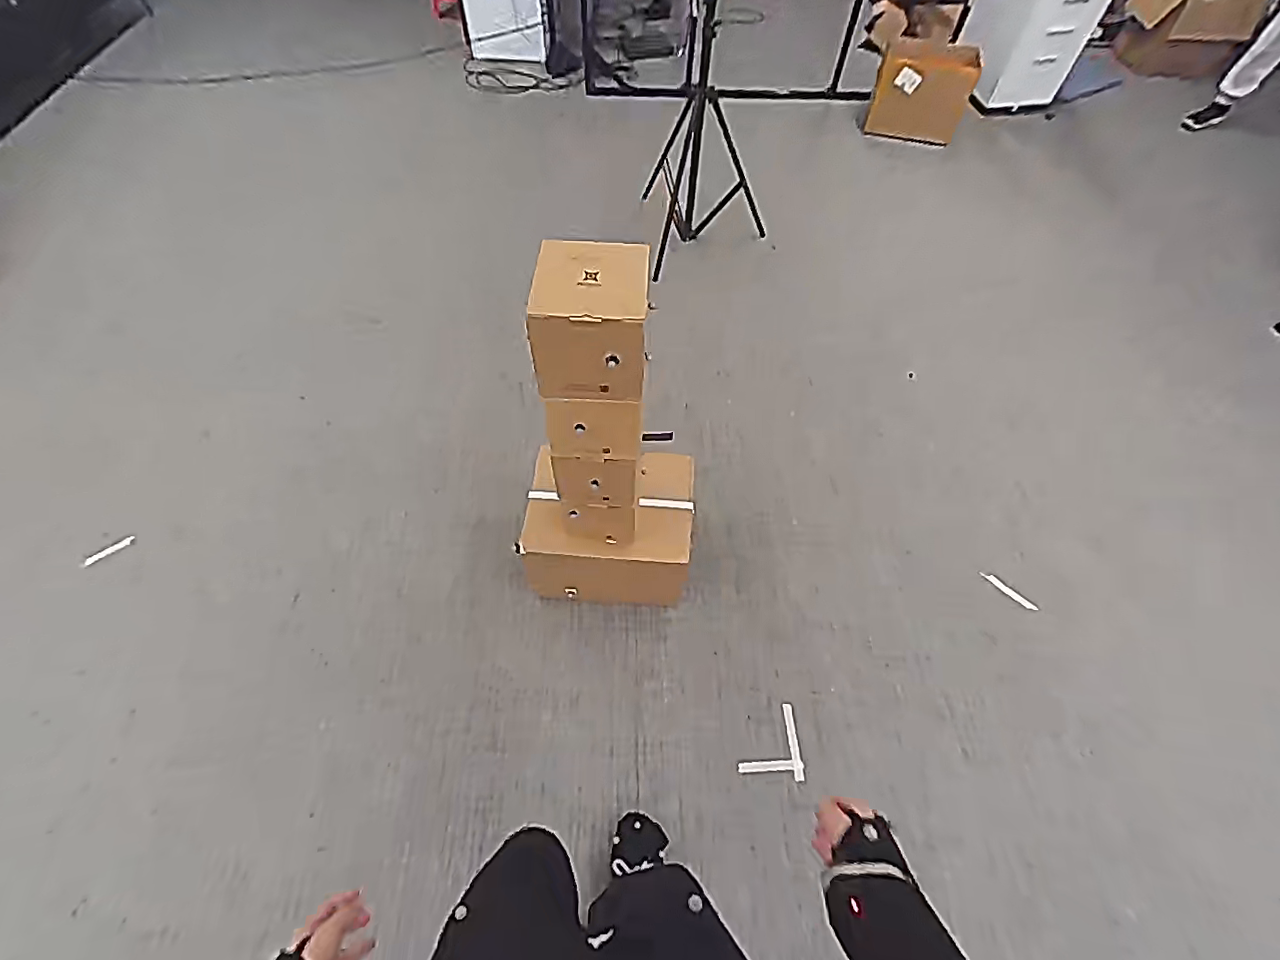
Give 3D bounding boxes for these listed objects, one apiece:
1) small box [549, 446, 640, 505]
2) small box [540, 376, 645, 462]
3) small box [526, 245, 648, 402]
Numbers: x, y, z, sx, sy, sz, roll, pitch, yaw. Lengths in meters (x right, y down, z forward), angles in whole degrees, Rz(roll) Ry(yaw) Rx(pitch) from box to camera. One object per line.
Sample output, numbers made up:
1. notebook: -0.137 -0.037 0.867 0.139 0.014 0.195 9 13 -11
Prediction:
1. small box: -0.083 -0.064 1.120 0.168 0.176 0.179 5 58 1
2. small box: -0.077 -0.148 0.981 0.168 0.176 0.179 2 57 0
3. small box: -0.073 -0.240 0.846 0.168 0.176 0.179 3 56 -1
